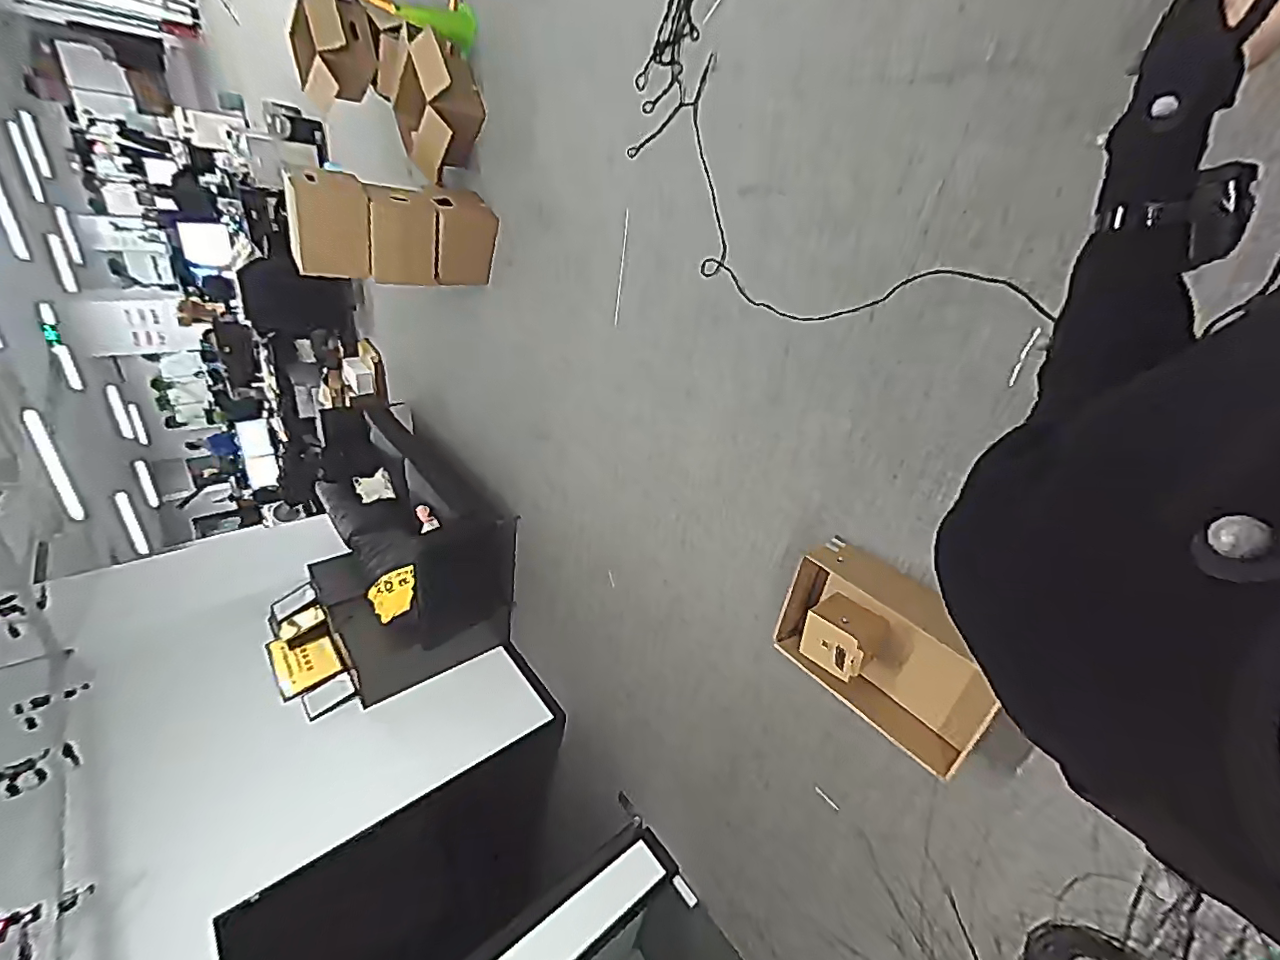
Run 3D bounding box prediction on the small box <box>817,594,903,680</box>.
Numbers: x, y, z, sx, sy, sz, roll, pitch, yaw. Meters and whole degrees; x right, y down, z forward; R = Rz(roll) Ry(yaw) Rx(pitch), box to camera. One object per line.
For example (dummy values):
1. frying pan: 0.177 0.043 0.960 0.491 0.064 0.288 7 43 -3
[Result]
1. small box: 0.691 0.483 1.696 0.179 0.176 0.168 29 125 44
